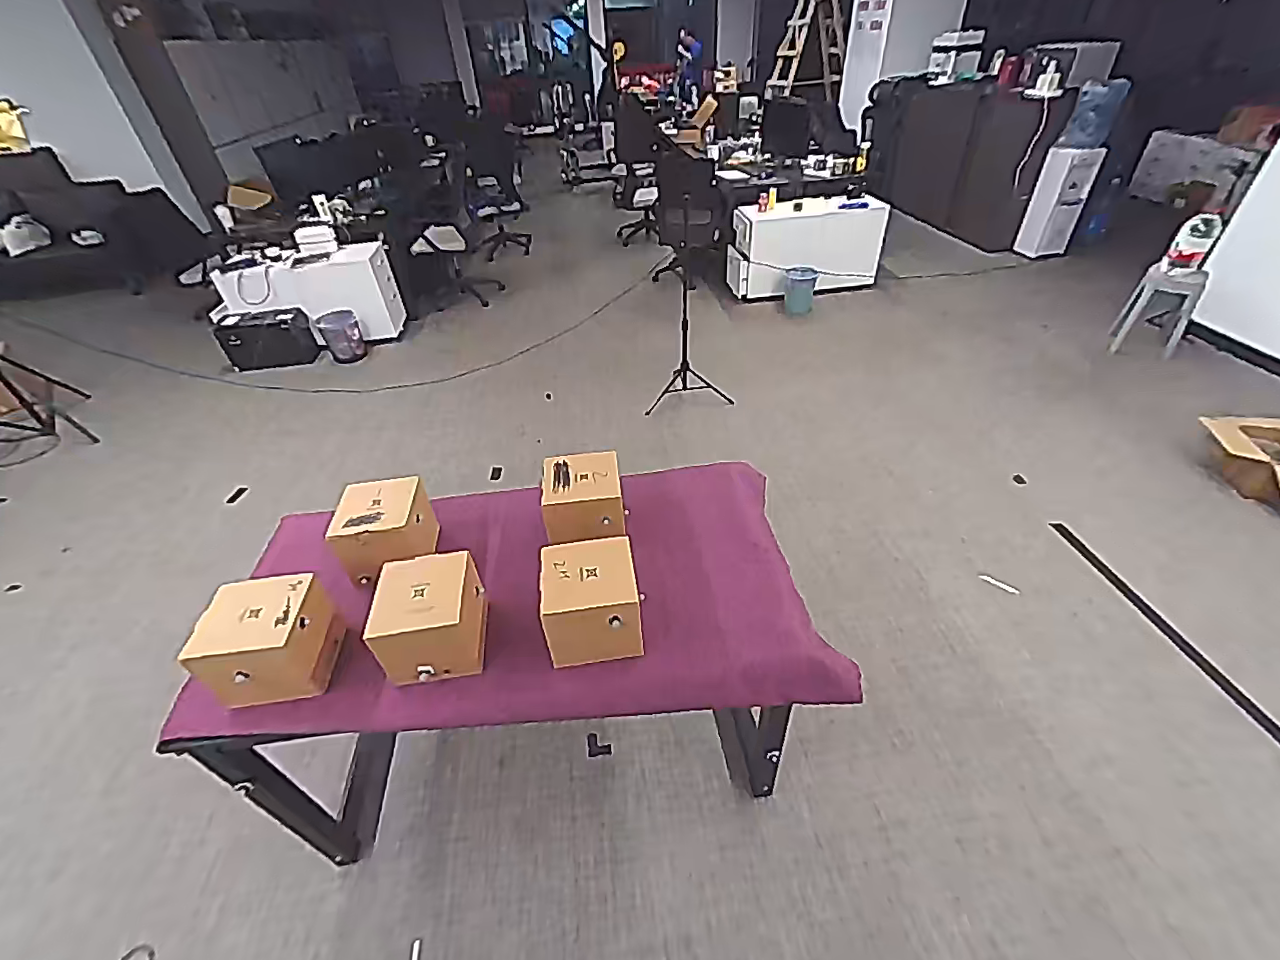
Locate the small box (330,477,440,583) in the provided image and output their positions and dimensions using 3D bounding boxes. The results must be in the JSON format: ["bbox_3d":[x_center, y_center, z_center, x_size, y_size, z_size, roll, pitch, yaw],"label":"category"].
[{"bbox_3d":[-0.572,0.120,1.243,0.168,0.176,0.179,-7,40,-4],"label":"small box"}]

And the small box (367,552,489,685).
[{"bbox_3d":[-0.397,0.268,1.050,0.168,0.176,0.179,-8,42,-4],"label":"small box"}]

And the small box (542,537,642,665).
[{"bbox_3d":[-0.090,0.236,1.054,0.179,0.176,0.168,-8,39,-3],"label":"small box"}]

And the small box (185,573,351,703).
[{"bbox_3d":[-0.690,0.304,1.029,0.179,0.176,0.168,-7,40,-3],"label":"small box"}]
